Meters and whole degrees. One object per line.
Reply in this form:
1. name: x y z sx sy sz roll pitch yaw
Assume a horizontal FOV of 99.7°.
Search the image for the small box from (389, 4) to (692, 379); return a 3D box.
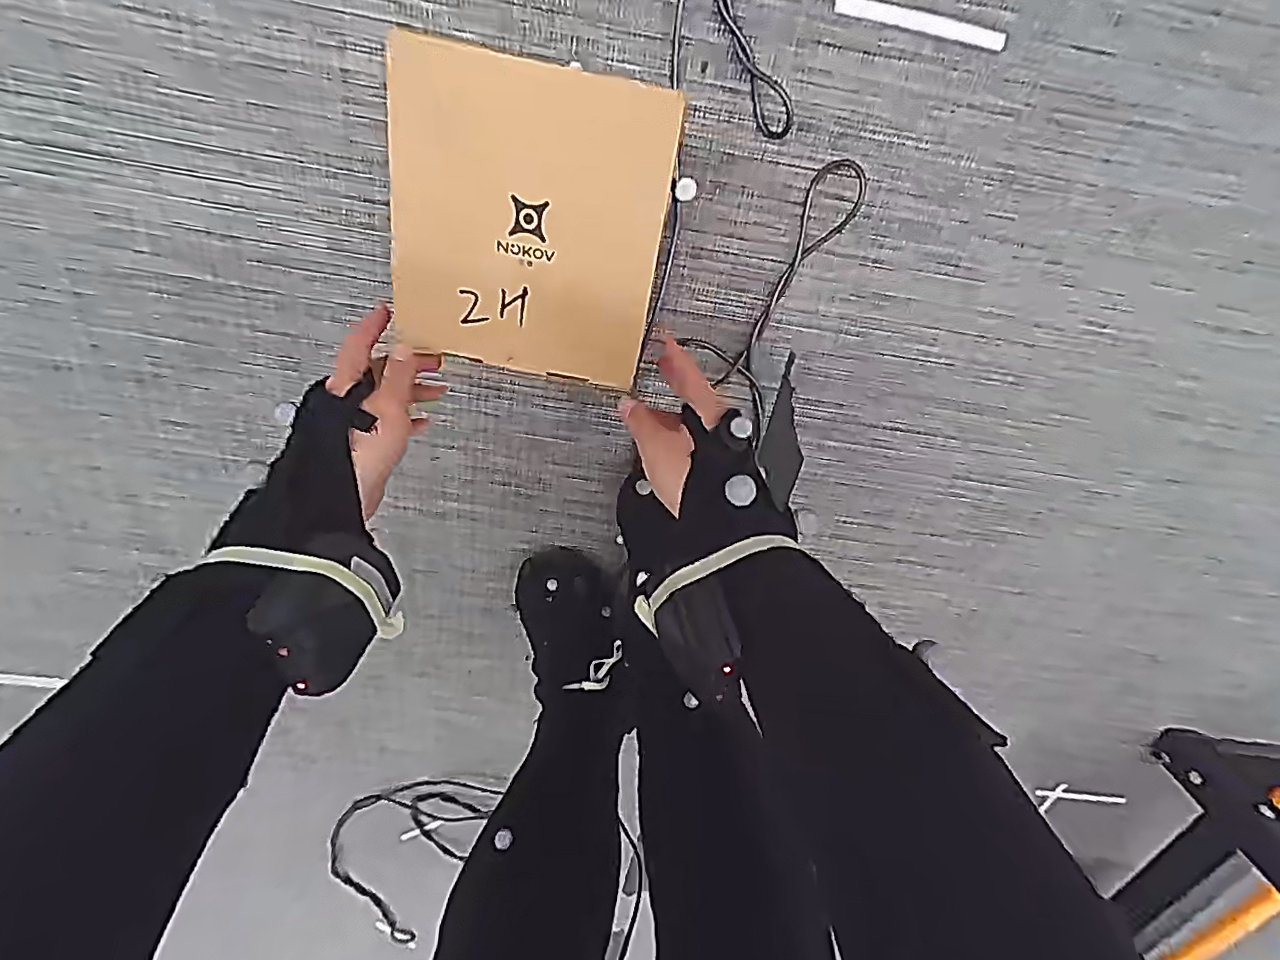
1. small box: -0.065 -0.195 0.396 0.168 0.176 0.179 11 118 -3
